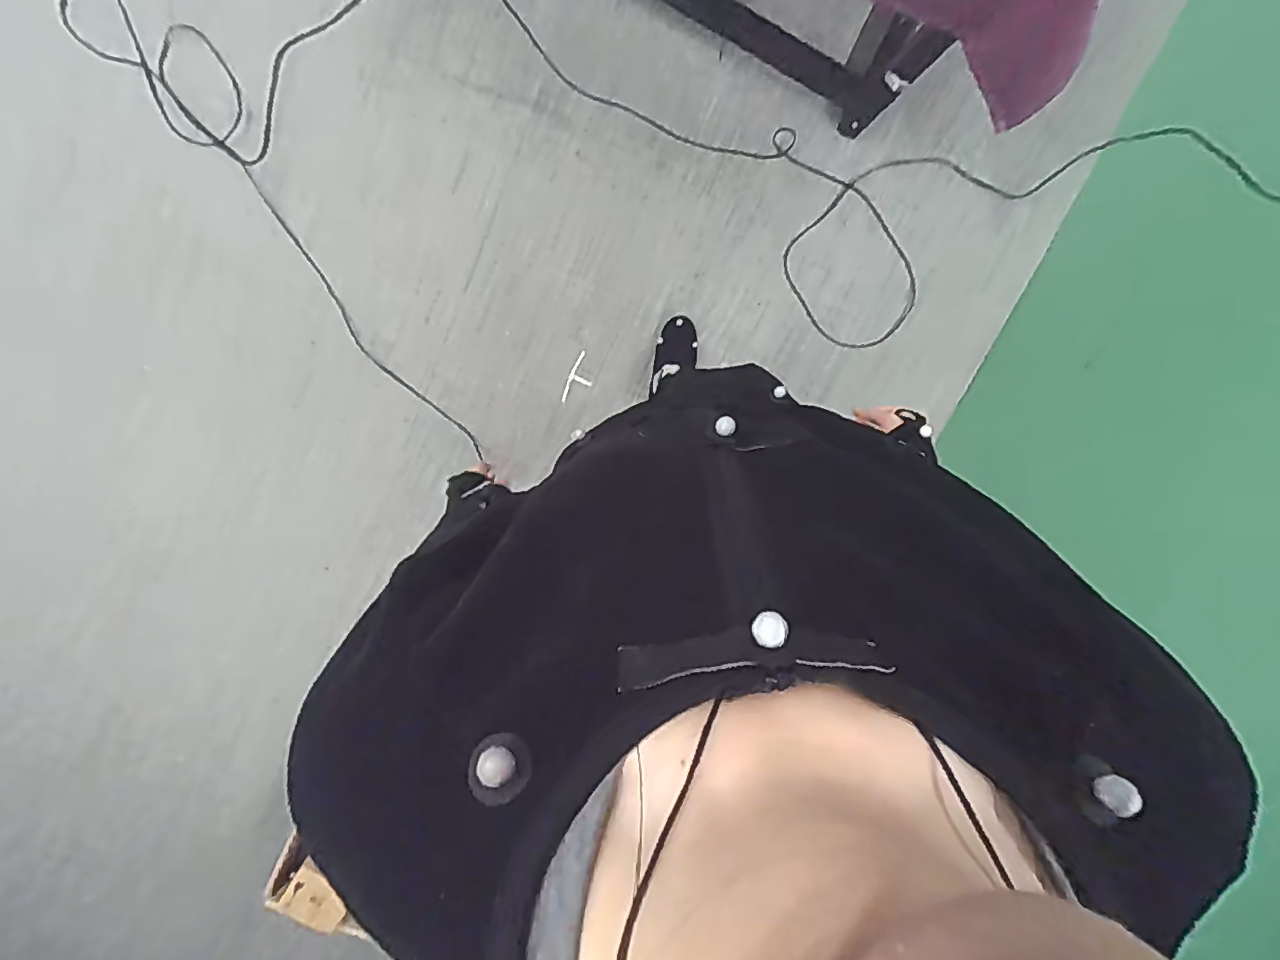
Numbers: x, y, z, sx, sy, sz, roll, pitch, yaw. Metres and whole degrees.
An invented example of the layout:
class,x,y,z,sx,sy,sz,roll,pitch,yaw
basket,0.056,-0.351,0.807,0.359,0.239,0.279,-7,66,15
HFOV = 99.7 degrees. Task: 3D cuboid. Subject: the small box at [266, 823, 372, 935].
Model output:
class,x,y,z,sx,sy,sz,roll,pitch,yaw
small box,-0.916,1.144,1.563,0.179,0.176,0.168,35,97,-10
